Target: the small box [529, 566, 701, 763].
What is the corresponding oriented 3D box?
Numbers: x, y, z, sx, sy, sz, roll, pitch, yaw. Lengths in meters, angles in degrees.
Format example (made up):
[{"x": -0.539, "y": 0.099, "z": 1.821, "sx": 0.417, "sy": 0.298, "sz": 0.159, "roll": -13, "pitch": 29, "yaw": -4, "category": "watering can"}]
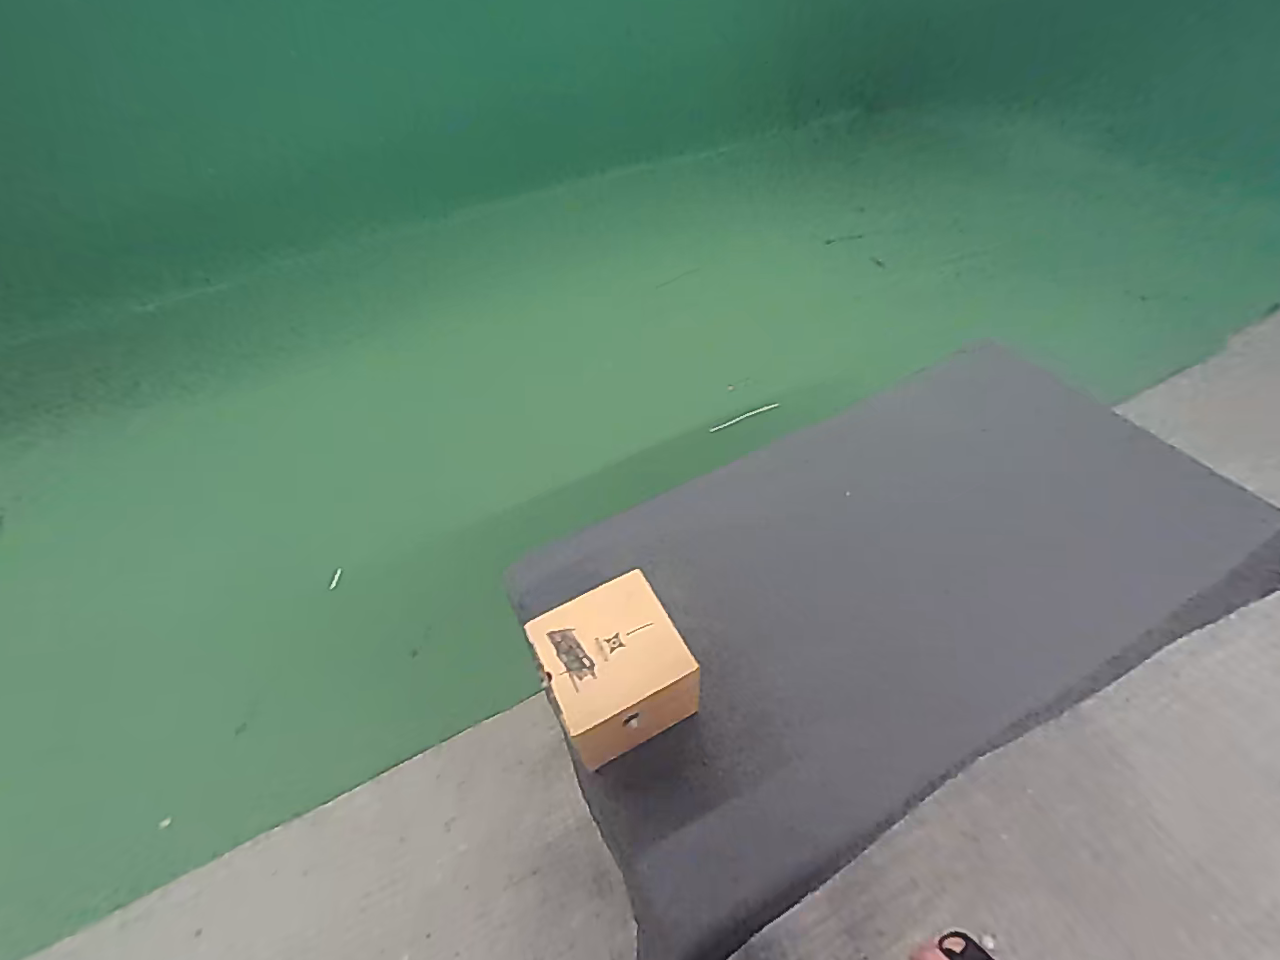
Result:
[{"x": -0.031, "y": 0.257, "z": 0.745, "sx": 0.179, "sy": 0.176, "sz": 0.168, "roll": -23, "pitch": 53, "yaw": -16, "category": "small box"}]
